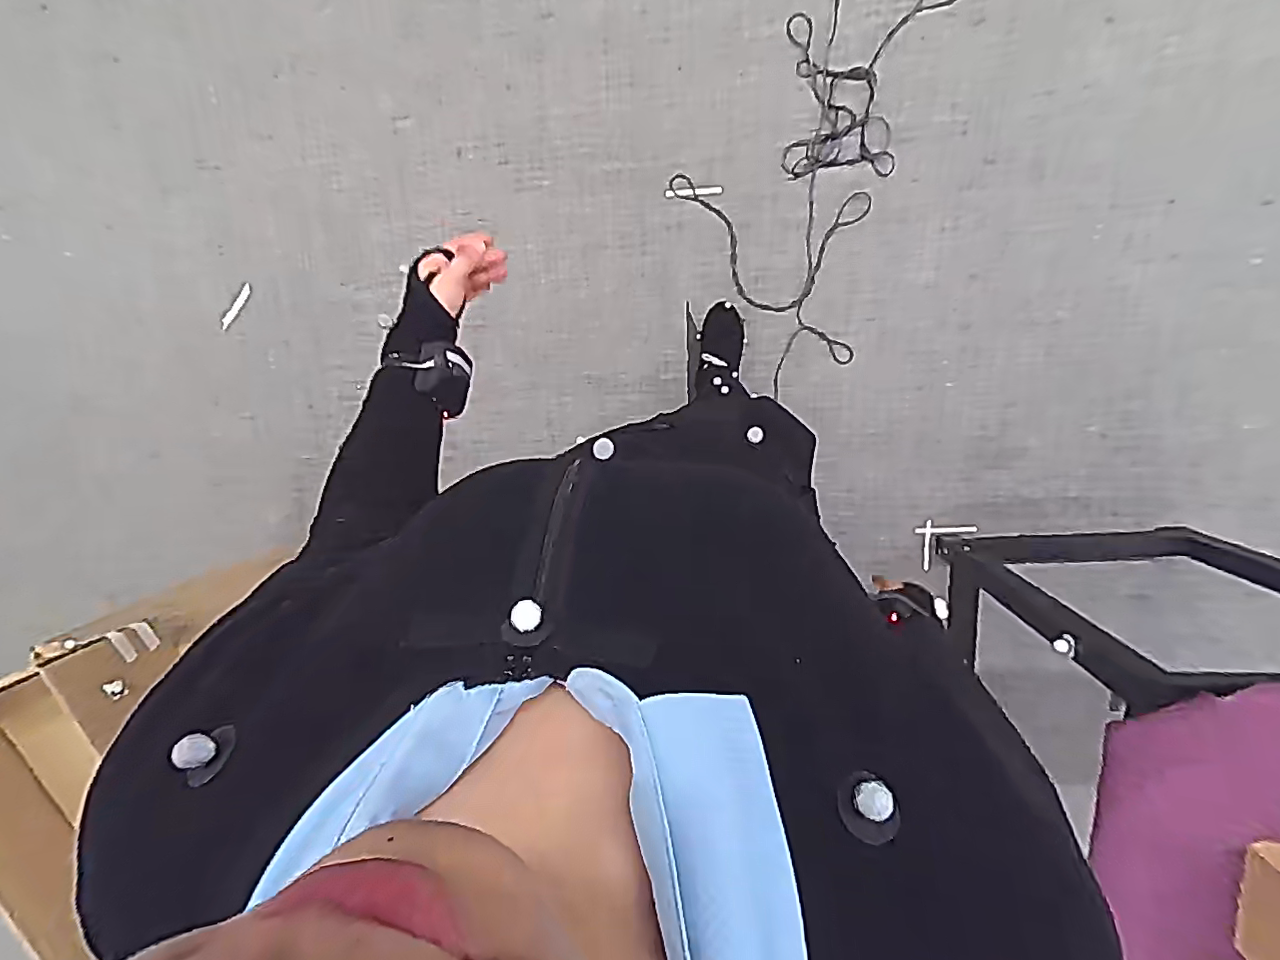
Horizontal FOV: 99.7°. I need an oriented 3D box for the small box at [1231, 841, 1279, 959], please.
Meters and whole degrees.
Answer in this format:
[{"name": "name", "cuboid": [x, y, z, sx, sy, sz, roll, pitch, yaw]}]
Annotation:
[{"name": "small box", "cuboid": [0.897, 0.580, 0.663, 0.168, 0.176, 0.179, -5, 101, 8]}]
